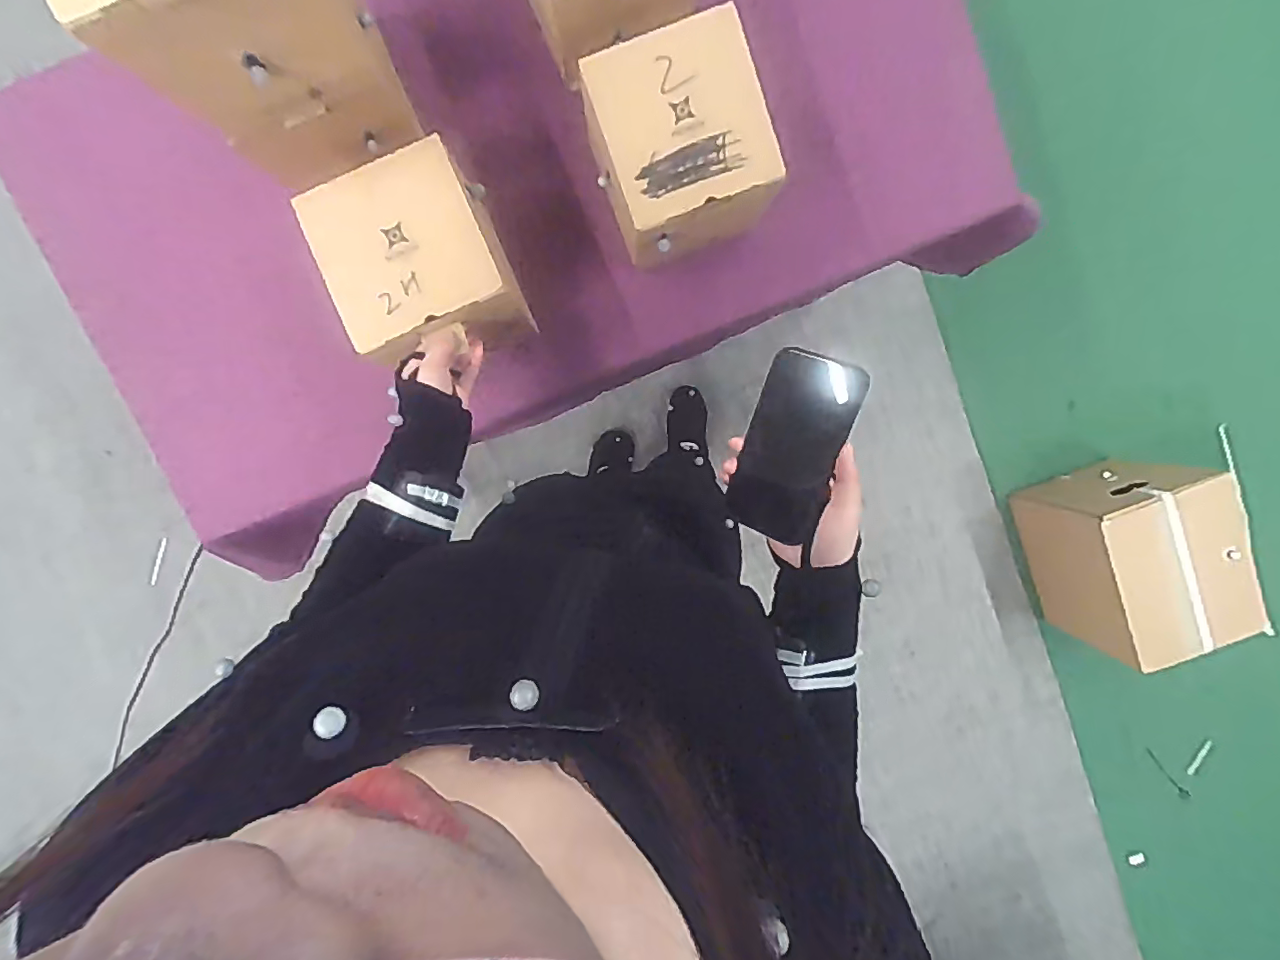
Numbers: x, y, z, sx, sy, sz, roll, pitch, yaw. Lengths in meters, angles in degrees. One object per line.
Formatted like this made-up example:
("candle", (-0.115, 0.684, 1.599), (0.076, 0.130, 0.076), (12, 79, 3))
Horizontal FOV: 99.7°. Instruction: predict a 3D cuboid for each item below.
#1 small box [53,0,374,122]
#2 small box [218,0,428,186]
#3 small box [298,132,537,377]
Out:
("small box", (-0.354, -0.431, 0.439), (0.168, 0.176, 0.179), (-22, 99, 1))
("small box", (-0.365, -0.455, 0.601), (0.168, 0.176, 0.179), (-22, 98, 1))
("small box", (-0.237, -0.239, 0.621), (0.168, 0.176, 0.179), (-23, 89, 1))
